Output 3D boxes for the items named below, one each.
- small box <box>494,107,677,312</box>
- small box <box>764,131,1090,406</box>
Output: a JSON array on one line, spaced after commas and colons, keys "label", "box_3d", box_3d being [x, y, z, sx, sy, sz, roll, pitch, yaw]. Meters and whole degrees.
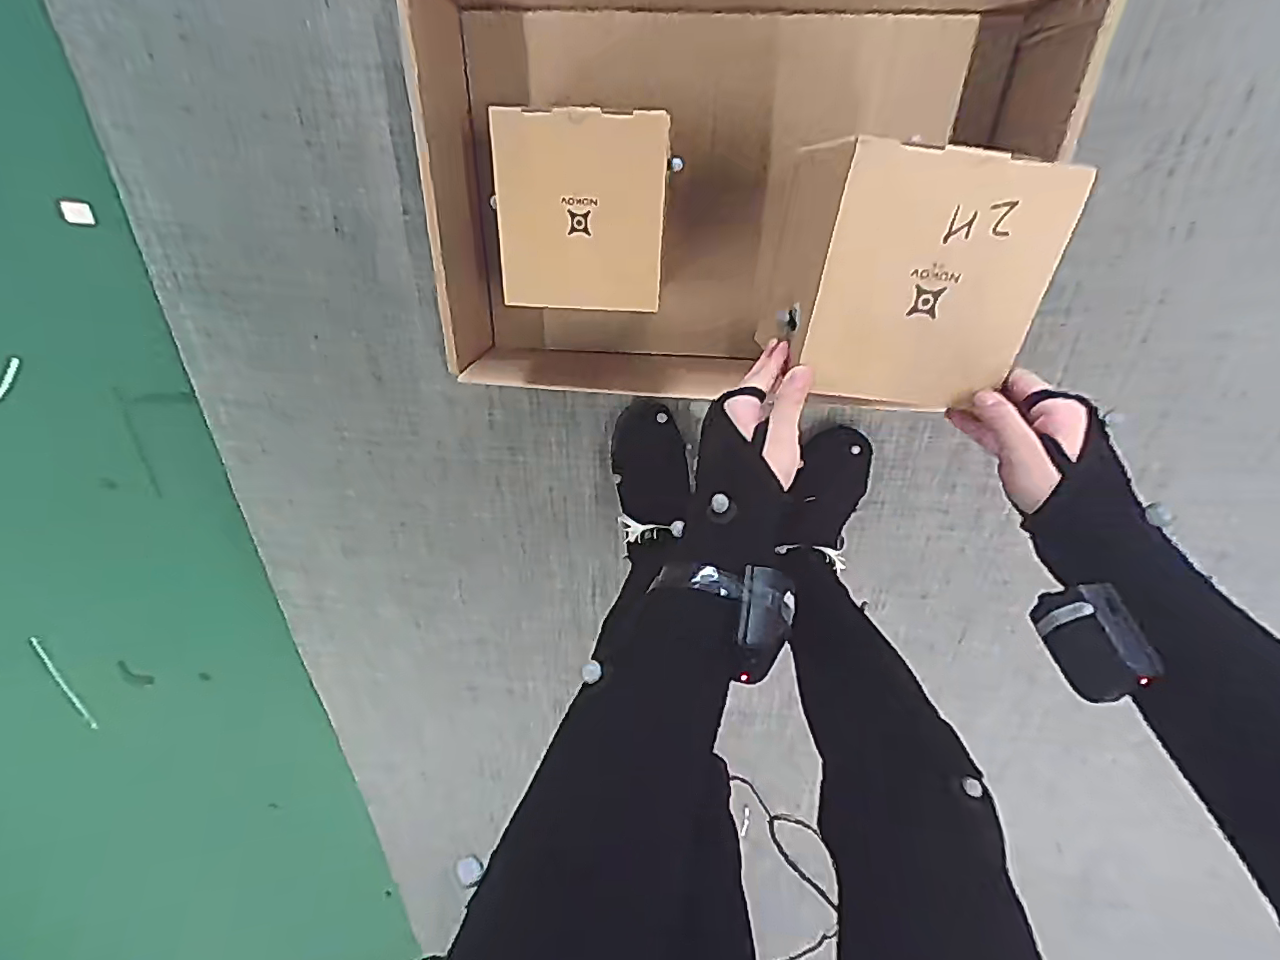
[{"label": "small box", "box_3d": [-0.048, -0.293, 0.596, 0.168, 0.176, 0.179, 4, 117, 4]}, {"label": "small box", "box_3d": [0.213, -0.181, 0.467, 0.168, 0.176, 0.179, 6, 117, -3]}]
